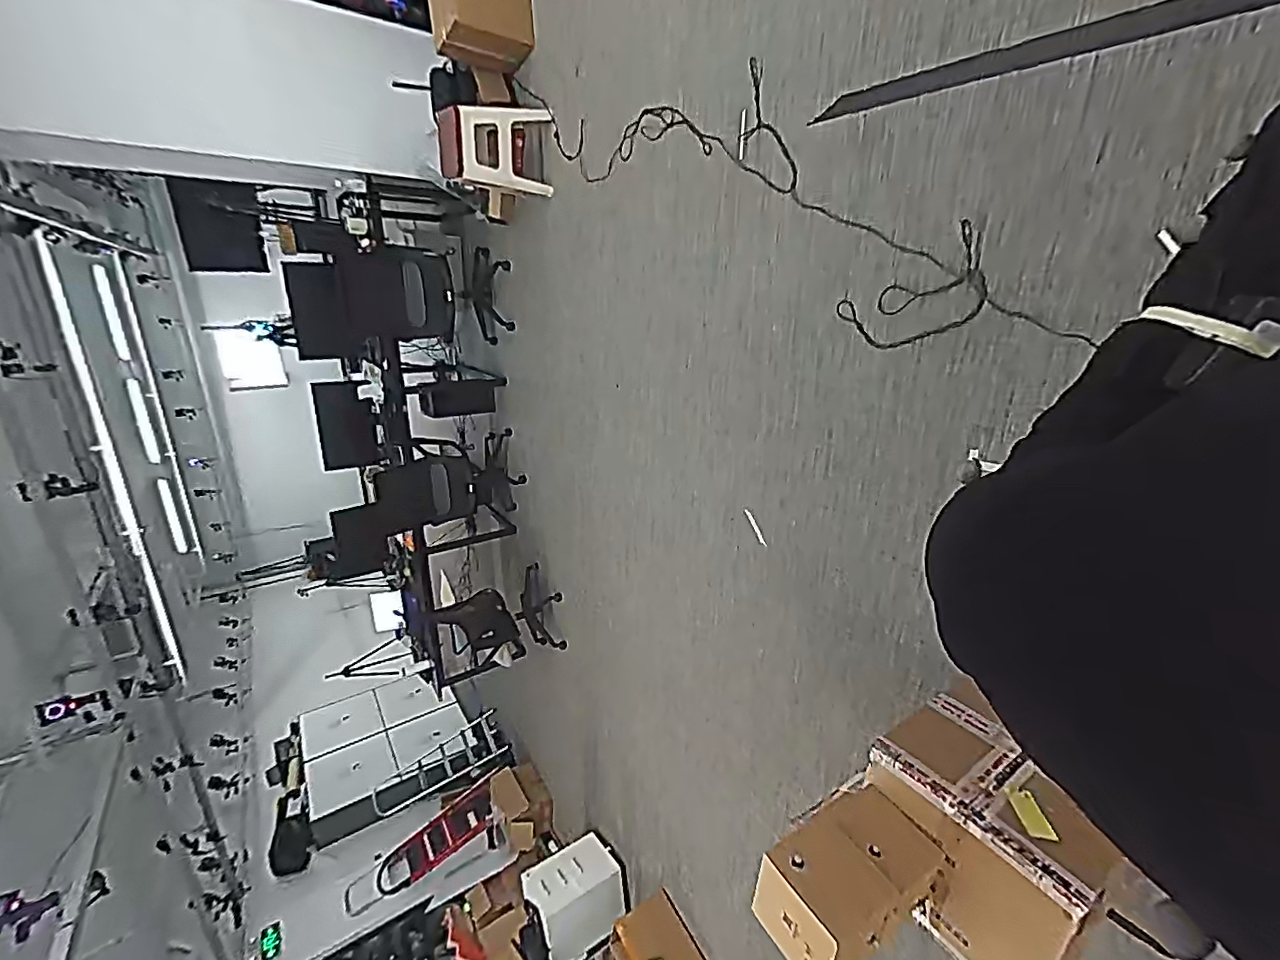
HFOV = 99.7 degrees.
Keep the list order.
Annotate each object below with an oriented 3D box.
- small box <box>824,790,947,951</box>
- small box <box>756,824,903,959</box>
[{"bbox_3d":[0.481,0.779,1.097,0.179,0.176,0.168,37,128,50],"label":"small box"},{"bbox_3d":[0.345,0.780,1.001,0.179,0.176,0.168,33,125,51],"label":"small box"}]
